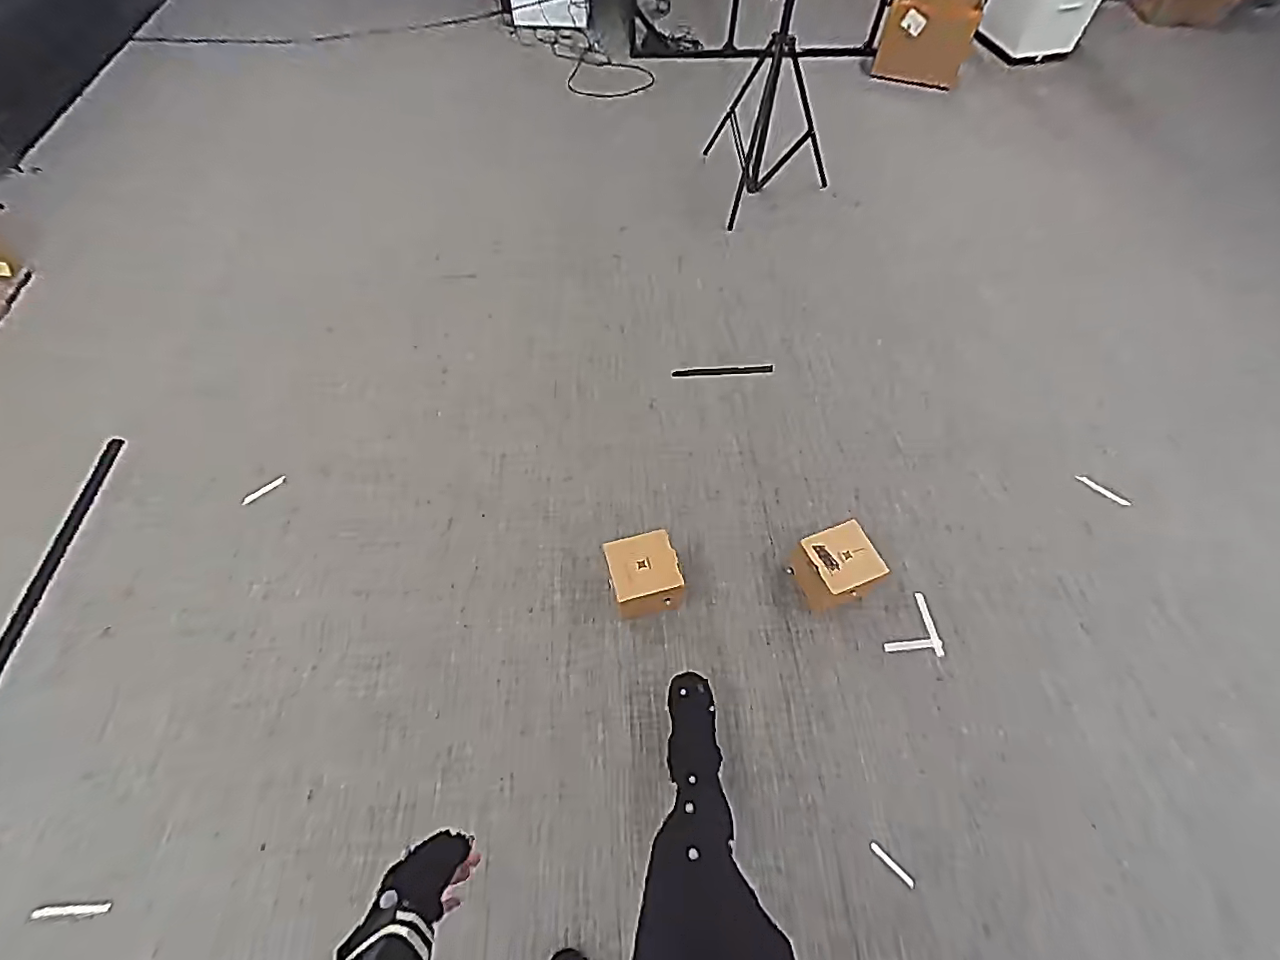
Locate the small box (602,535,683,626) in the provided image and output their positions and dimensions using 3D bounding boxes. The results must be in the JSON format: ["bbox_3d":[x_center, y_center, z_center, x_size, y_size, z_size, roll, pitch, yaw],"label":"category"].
[{"bbox_3d":[0.003,0.272,1.450,0.179,0.176,0.168,-14,59,-8],"label":"small box"}]

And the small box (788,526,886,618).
[{"bbox_3d":[0.520,0.255,1.470,0.179,0.176,0.168,-18,61,-12],"label":"small box"}]
